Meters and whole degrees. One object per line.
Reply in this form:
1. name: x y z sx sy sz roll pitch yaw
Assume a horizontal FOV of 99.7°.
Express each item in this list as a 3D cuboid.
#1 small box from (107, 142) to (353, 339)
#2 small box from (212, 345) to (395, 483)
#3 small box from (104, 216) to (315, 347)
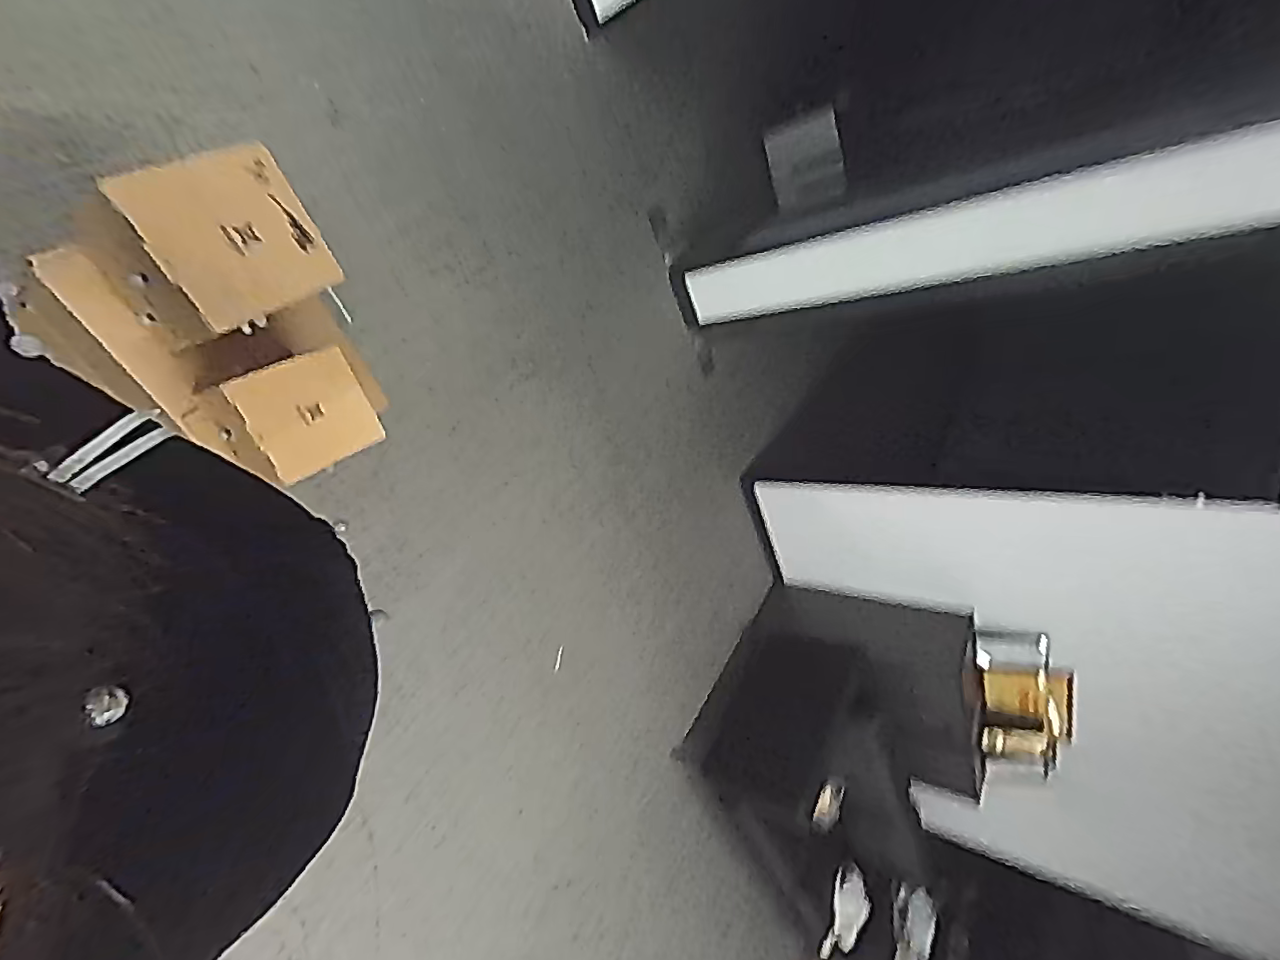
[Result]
1. small box: -0.513 -0.291 0.679 0.179 0.176 0.168 -47 128 -35
2. small box: -0.553 -0.110 0.893 0.179 0.176 0.168 -41 121 -40
3. small box: -0.630 -0.307 0.793 0.179 0.176 0.168 -46 127 -37
